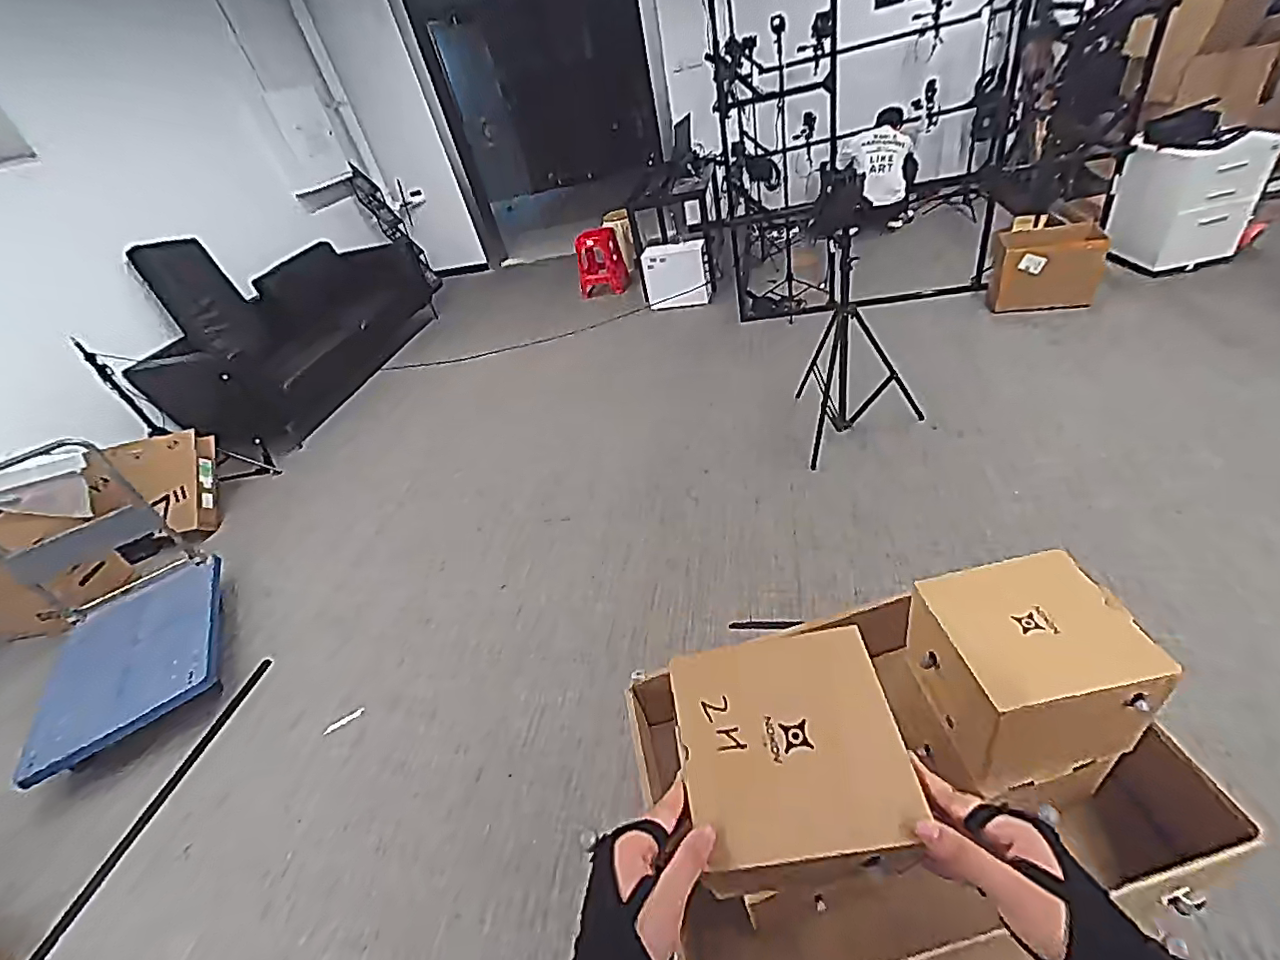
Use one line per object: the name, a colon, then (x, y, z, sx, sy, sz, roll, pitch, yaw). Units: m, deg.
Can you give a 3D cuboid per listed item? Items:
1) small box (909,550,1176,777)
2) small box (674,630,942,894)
small box: (0.431, 0.212, 0.619, 0.179, 0.176, 0.168, -14, 38, 3)
small box: (0.136, 0.261, 0.494, 0.179, 0.176, 0.168, -12, 46, 6)
